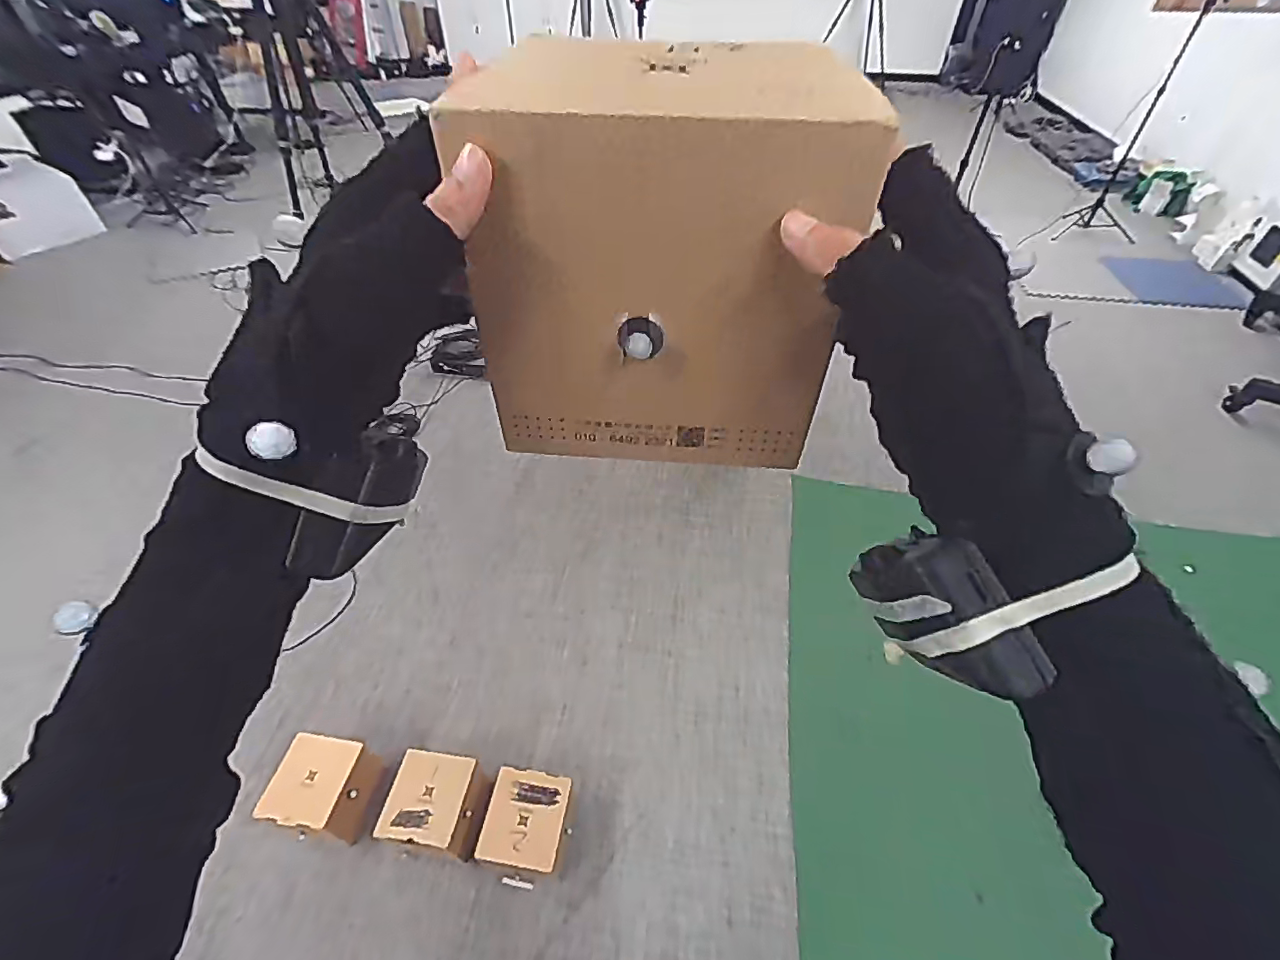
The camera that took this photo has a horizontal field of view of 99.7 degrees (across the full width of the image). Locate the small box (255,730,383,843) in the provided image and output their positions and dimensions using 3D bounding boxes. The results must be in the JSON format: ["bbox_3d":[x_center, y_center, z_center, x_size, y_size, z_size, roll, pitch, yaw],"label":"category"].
[{"bbox_3d":[-0.728,0.712,1.255,0.168,0.176,0.179,6,46,6],"label":"small box"}]

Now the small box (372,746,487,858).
[{"bbox_3d":[-0.464,0.734,1.228,0.168,0.176,0.179,5,45,6],"label":"small box"}]
